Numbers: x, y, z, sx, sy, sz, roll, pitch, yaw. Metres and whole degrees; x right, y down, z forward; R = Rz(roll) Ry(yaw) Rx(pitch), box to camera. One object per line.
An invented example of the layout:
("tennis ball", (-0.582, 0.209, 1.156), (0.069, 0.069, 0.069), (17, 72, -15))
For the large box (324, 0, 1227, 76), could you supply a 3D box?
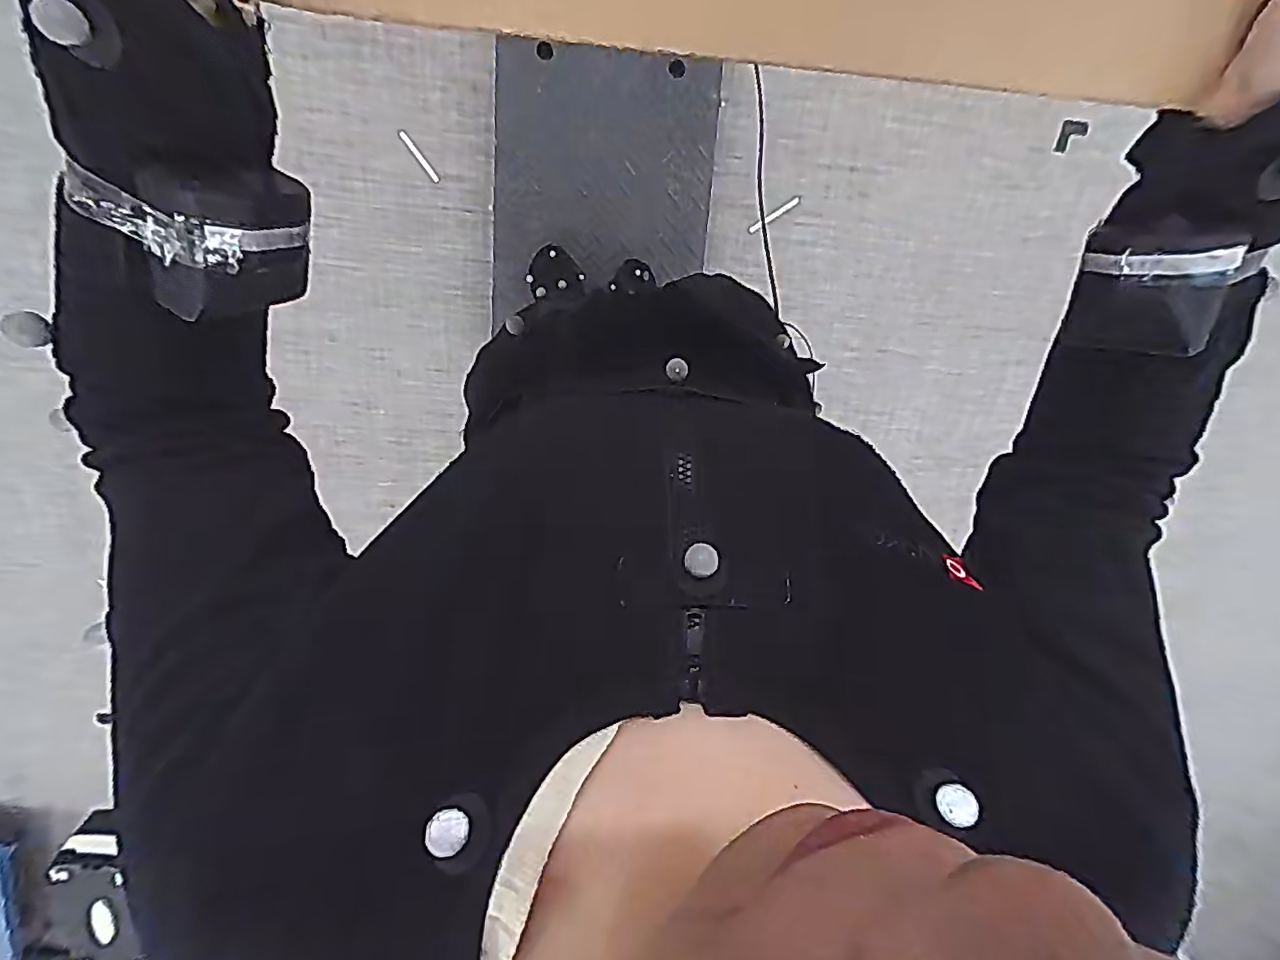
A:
("large box", (0.054, -0.401, 0.227), (0.408, 0.320, 0.320), (1, 136, -6))
